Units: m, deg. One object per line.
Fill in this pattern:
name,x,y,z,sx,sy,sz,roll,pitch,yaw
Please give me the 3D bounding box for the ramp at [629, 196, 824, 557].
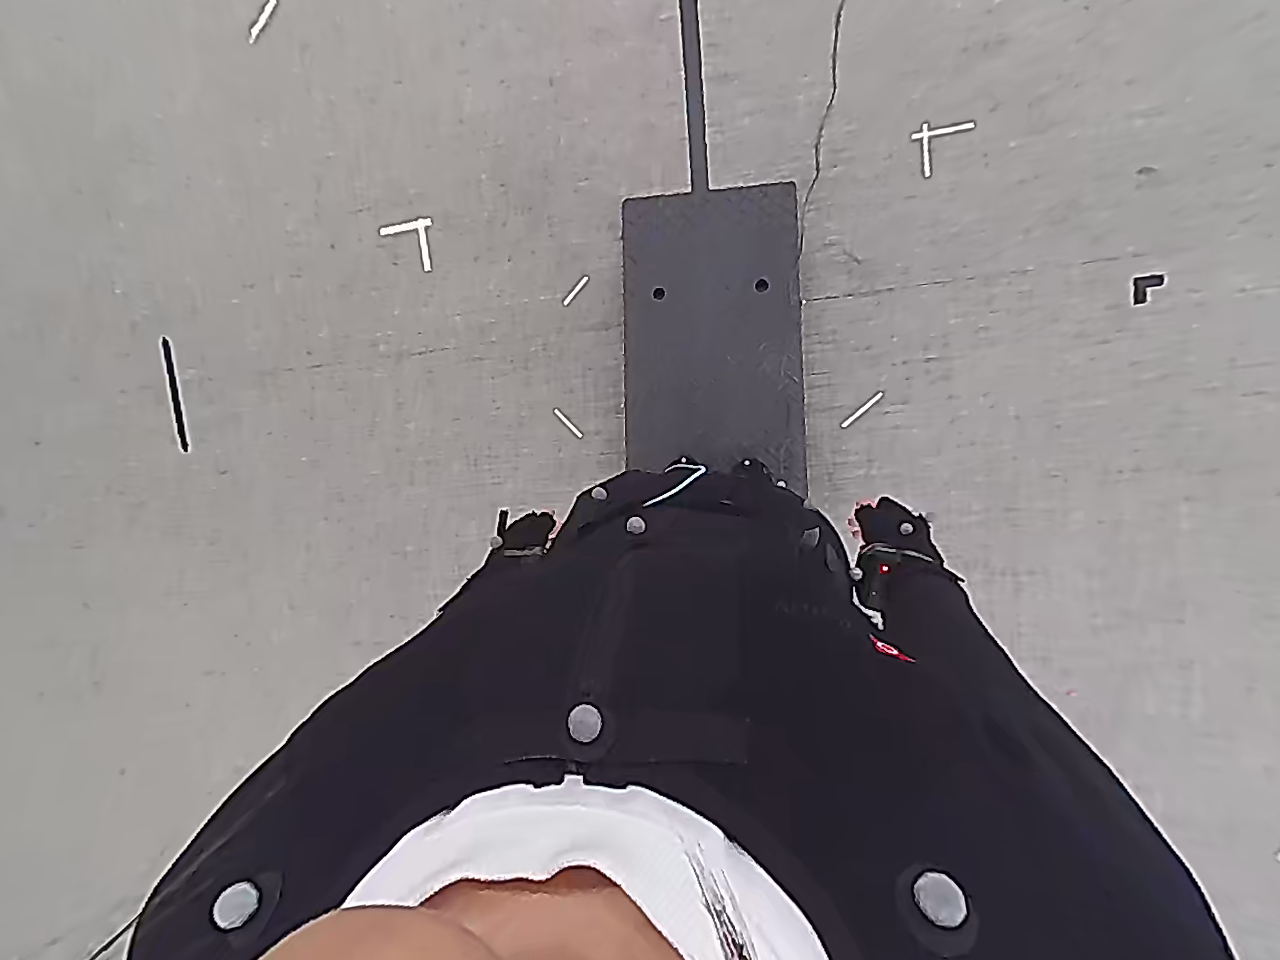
ramp,0.220,-0.292,1.507,0.509,0.206,0.991,-5,93,11
